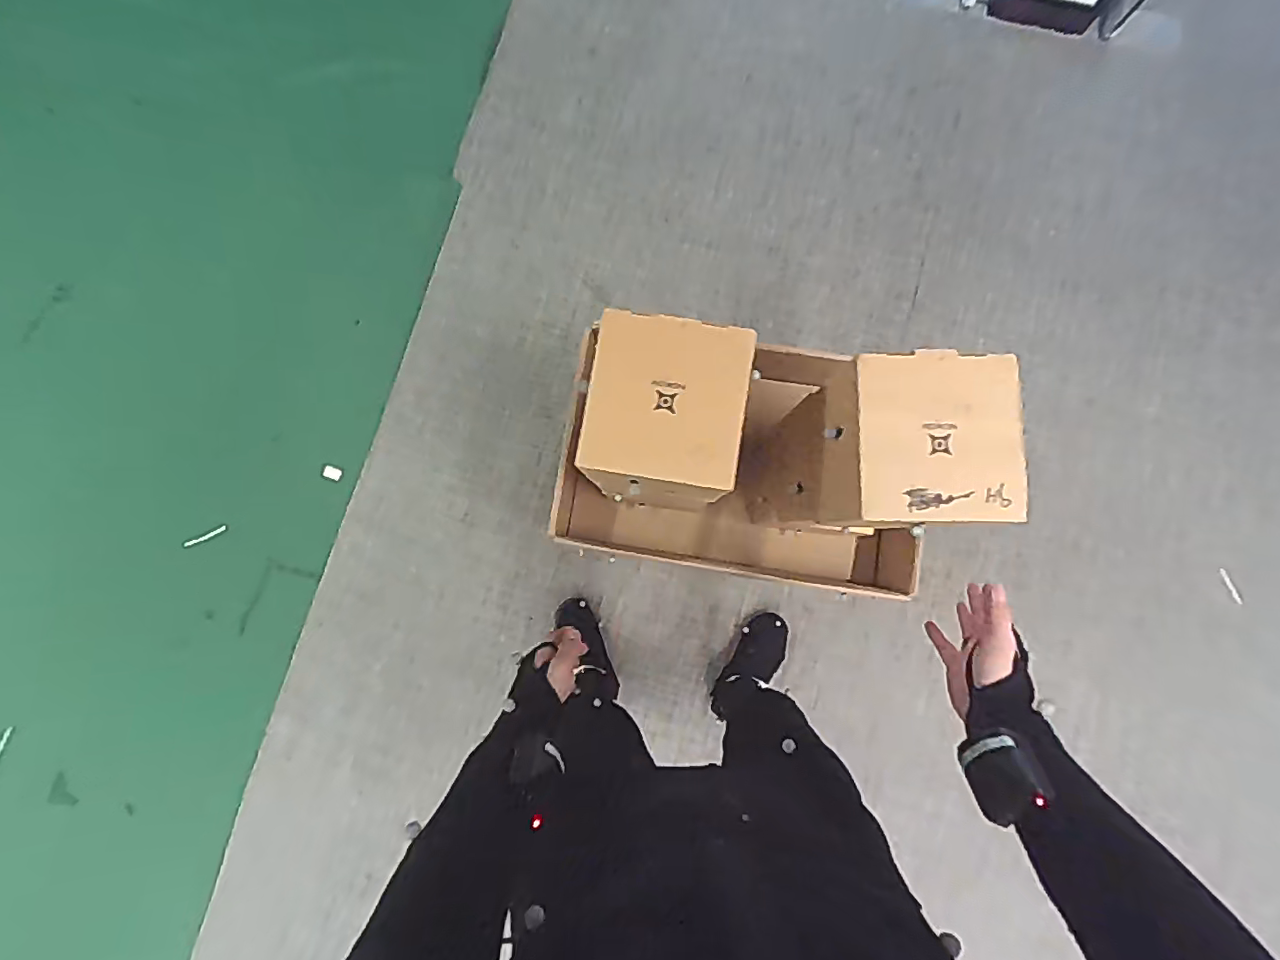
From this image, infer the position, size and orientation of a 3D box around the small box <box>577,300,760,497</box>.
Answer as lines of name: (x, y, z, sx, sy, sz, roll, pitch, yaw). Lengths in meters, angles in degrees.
small box: (0.033, -0.081, 0.630, 0.168, 0.176, 0.179, 9, 83, 3)

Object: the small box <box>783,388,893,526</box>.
small box: (0.309, -0.024, 0.781, 0.168, 0.176, 0.179, 3, 84, 1)

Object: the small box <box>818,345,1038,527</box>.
small box: (0.309, -0.039, 0.617, 0.168, 0.176, 0.179, 1, 83, 2)
